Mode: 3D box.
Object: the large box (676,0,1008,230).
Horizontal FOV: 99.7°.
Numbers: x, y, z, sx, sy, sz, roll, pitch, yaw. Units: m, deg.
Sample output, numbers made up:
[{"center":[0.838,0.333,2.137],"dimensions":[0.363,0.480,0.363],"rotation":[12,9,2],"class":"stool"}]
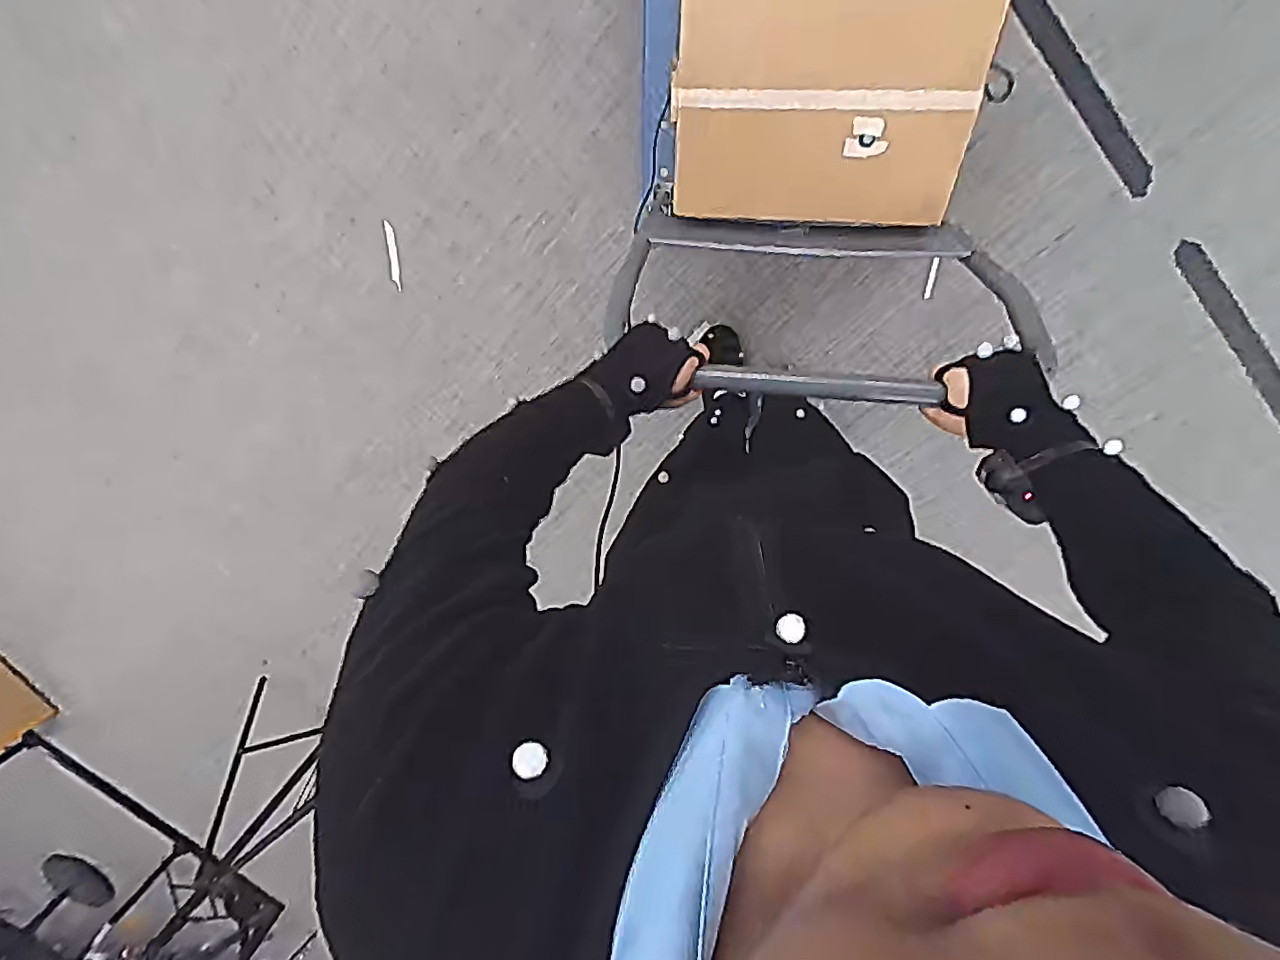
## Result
[{"center":[0.267,-0.598,0.856],"dimensions":[0.408,0.320,0.320],"rotation":[4,129,6],"class":"large box"}]
